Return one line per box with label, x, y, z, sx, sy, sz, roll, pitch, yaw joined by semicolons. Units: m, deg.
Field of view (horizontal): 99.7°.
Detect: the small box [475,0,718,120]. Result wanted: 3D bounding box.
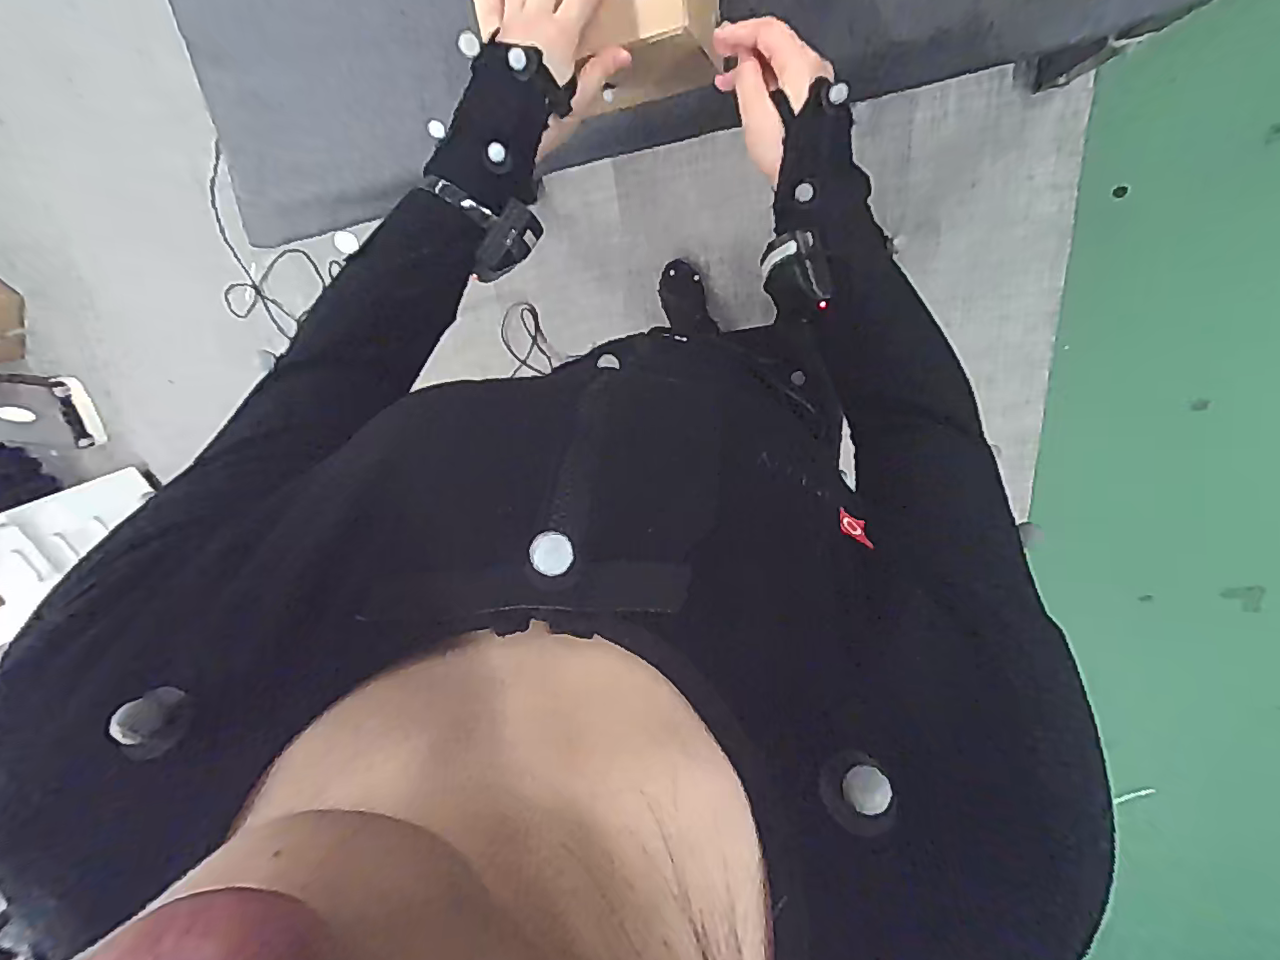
small box;-0.032;-0.441;0.476;0.179;0.176;0.168;0;114;21
